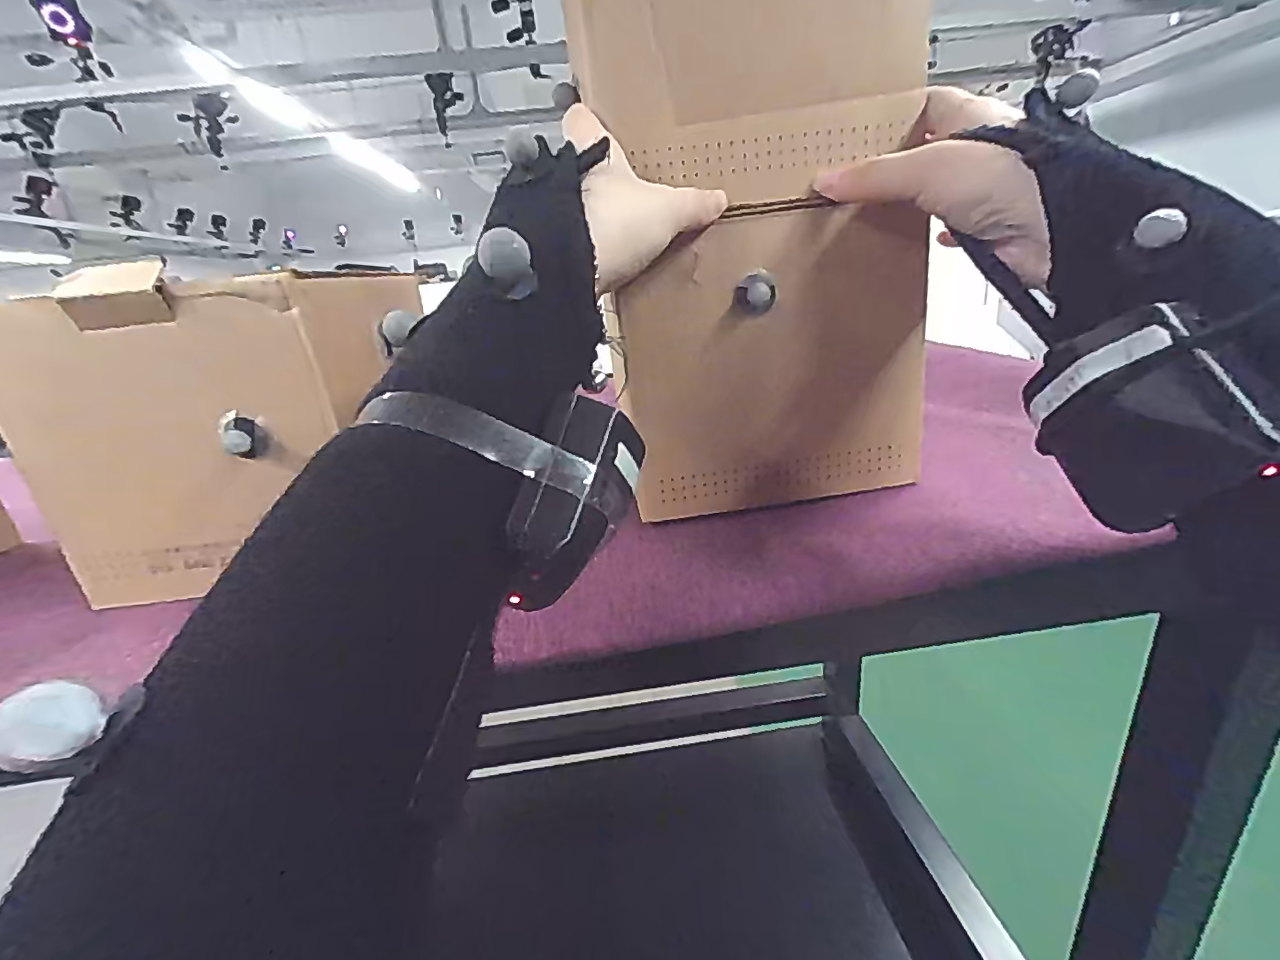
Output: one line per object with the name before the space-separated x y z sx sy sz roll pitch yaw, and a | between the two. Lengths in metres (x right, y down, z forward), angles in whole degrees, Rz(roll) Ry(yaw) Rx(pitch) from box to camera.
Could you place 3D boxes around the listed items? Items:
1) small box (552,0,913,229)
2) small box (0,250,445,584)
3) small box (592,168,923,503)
small box | 0.044 -0.246 0.326 0.179 0.176 0.168 -8 18 -3
small box | -0.240 -0.044 0.347 0.168 0.176 0.179 -6 20 -2
small box | 0.067 -0.092 0.373 0.179 0.176 0.168 -9 18 -4
